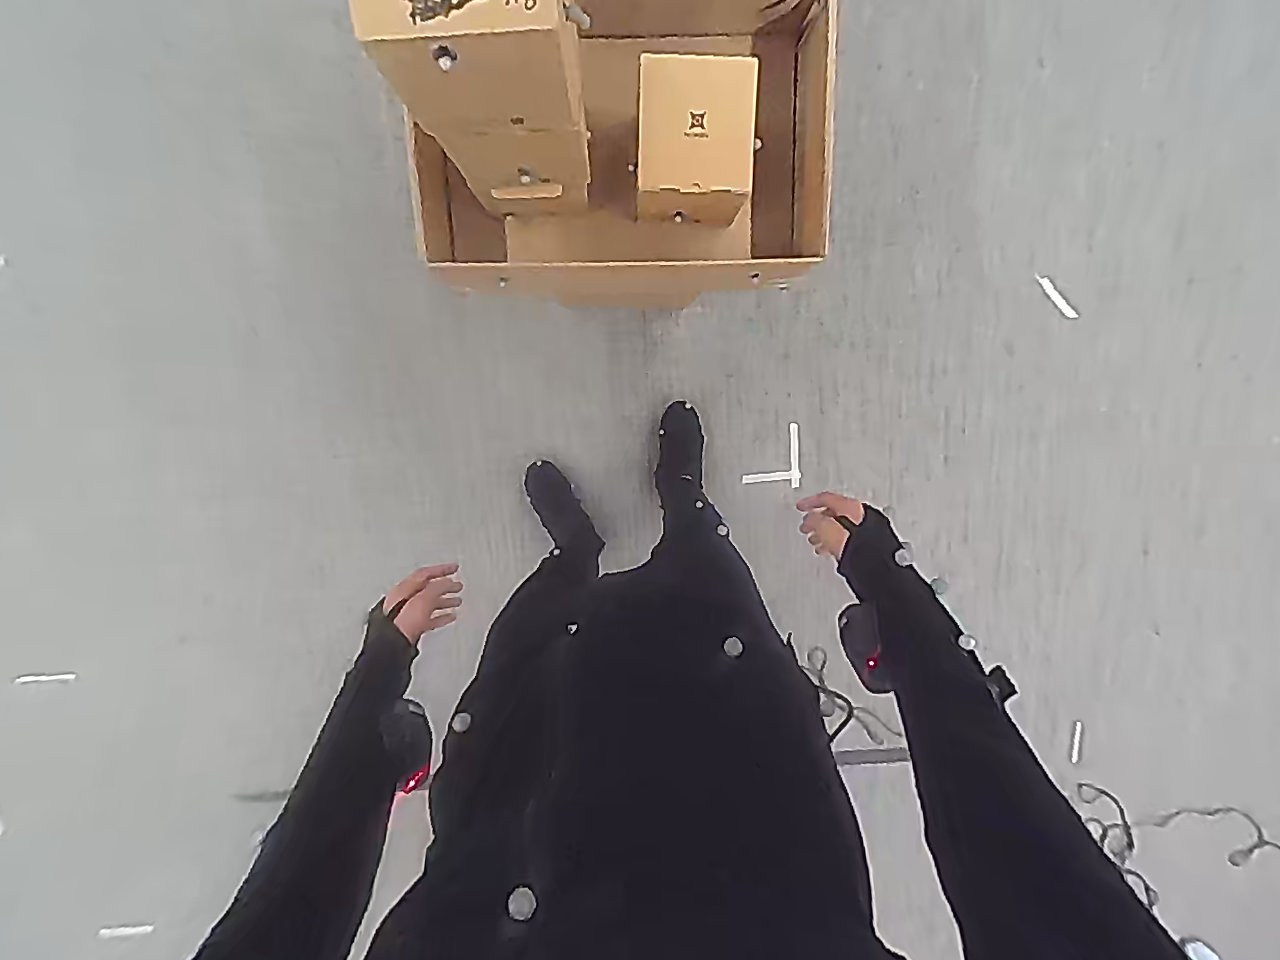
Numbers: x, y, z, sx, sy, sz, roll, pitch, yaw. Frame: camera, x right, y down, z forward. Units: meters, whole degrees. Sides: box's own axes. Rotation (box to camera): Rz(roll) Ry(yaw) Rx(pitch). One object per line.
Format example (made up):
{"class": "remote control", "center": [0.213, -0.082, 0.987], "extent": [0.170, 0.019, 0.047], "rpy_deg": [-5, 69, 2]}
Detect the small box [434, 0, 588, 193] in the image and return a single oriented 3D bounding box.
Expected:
{"class": "small box", "center": [-0.156, -0.478, 0.665], "extent": [0.168, 0.176, 0.179], "rpy_deg": [-4, 100, -1]}

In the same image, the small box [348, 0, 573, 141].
{"class": "small box", "center": [-0.156, -0.451, 0.502], "extent": [0.168, 0.176, 0.179], "rpy_deg": [-4, 99, -1]}

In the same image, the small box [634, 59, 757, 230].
{"class": "small box", "center": [0.076, -0.505, 0.837], "extent": [0.168, 0.176, 0.179], "rpy_deg": [0, 100, -2]}
